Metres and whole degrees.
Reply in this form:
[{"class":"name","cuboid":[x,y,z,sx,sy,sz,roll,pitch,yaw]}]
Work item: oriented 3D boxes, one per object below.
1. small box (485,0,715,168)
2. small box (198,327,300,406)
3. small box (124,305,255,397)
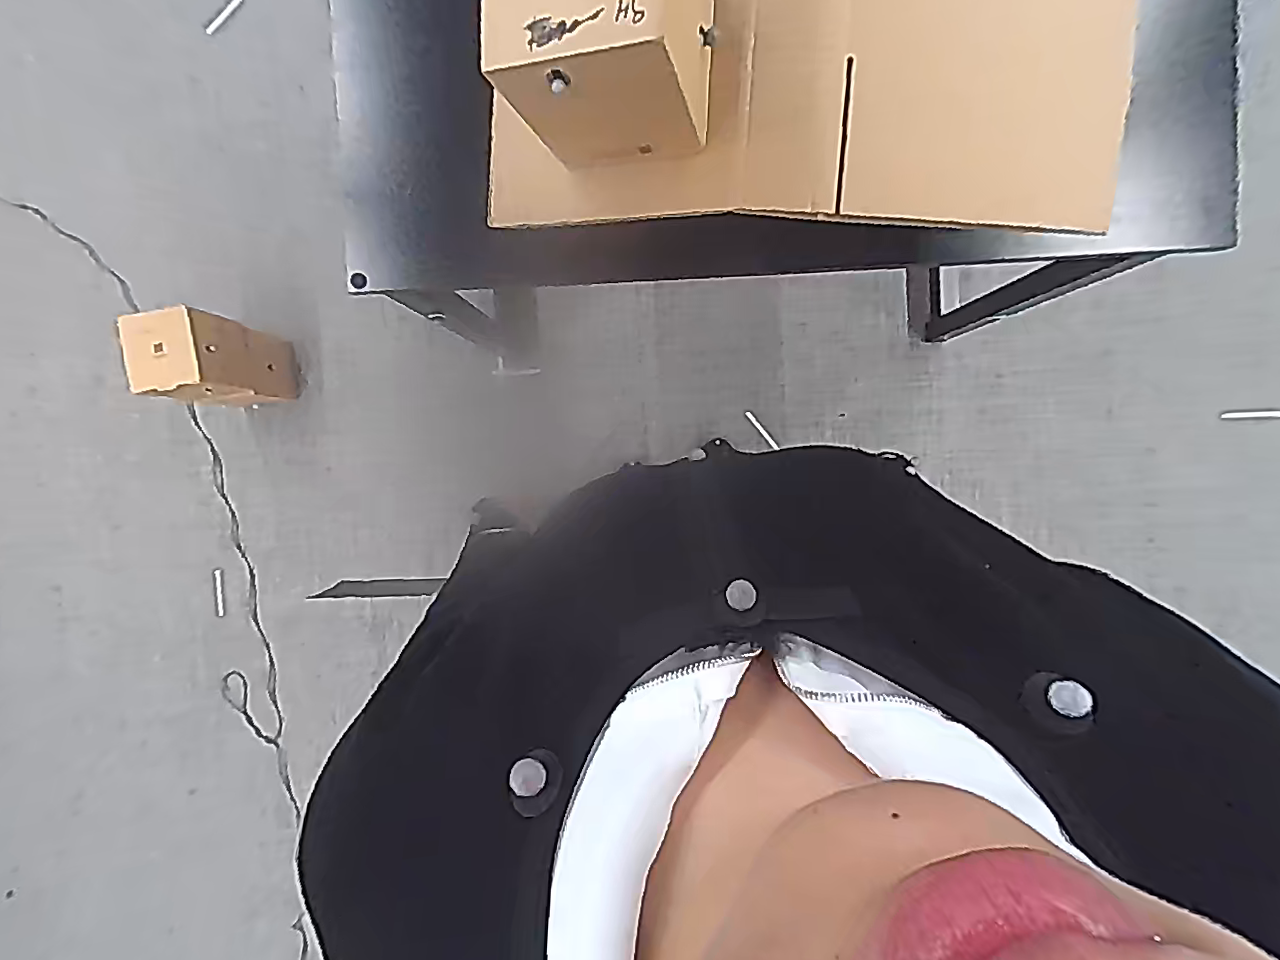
[{"class":"small box","cuboid":[-0.025,-0.435,0.514,0.168,0.176,0.179,4,93,18]},{"class":"small box","cuboid":[-1.053,-0.299,1.453,0.168,0.176,0.179,-6,93,3]},{"class":"small box","cuboid":[-1.063,-0.297,1.291,0.168,0.176,0.179,-9,91,2]}]
